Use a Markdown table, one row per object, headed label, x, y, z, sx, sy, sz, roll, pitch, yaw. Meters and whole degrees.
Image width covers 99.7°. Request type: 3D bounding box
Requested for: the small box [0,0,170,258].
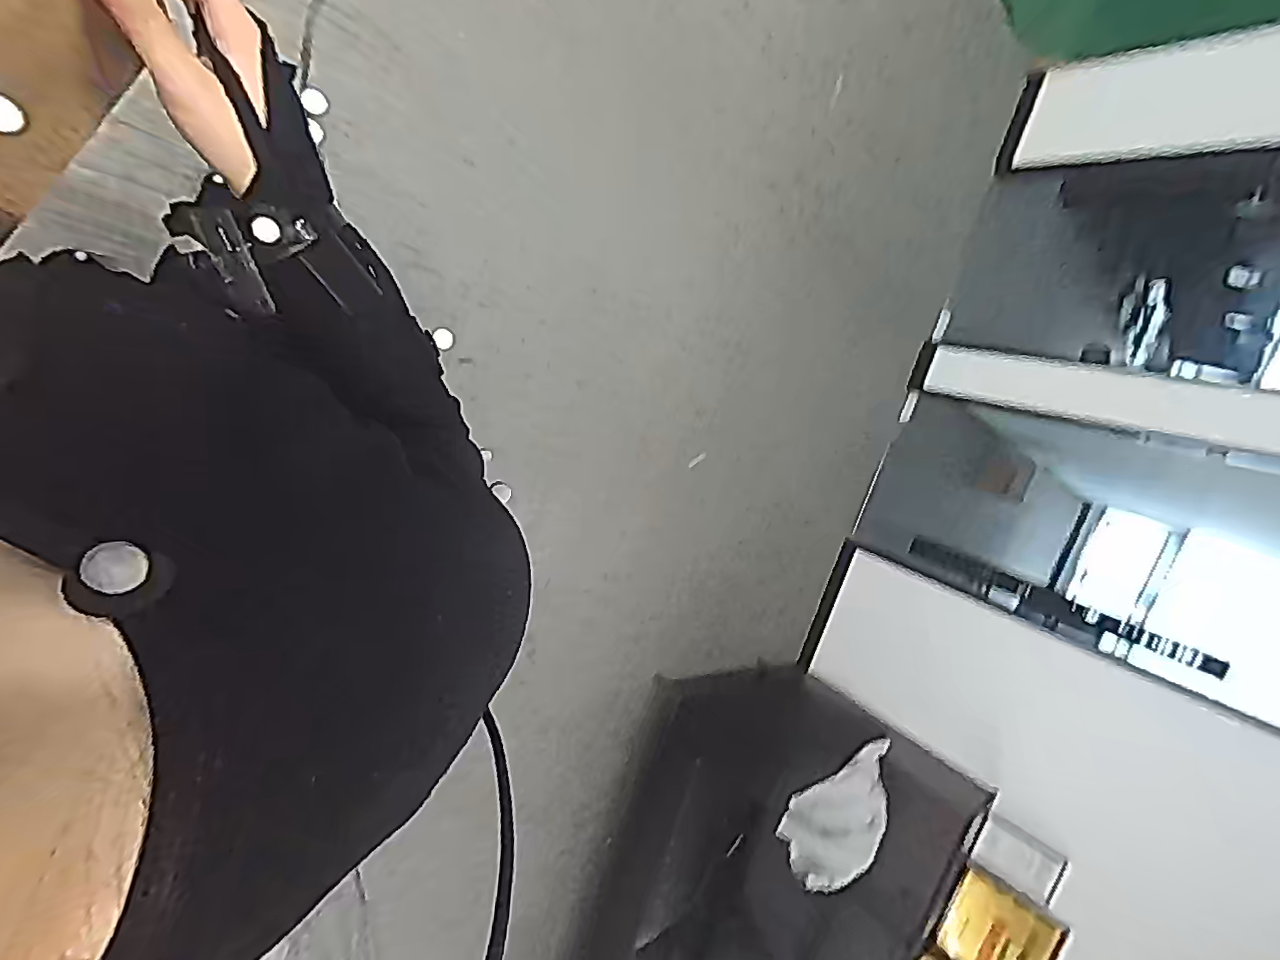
| label | x | y | z | sx | sy | sz | roll | pitch | yaw |
| --- | --- | --- | --- | --- | --- | --- | --- | --- | --- |
| small box | -0.331 | -0.211 | 0.206 | 0.168 | 0.176 | 0.179 | 36 | 83 | -33 |
